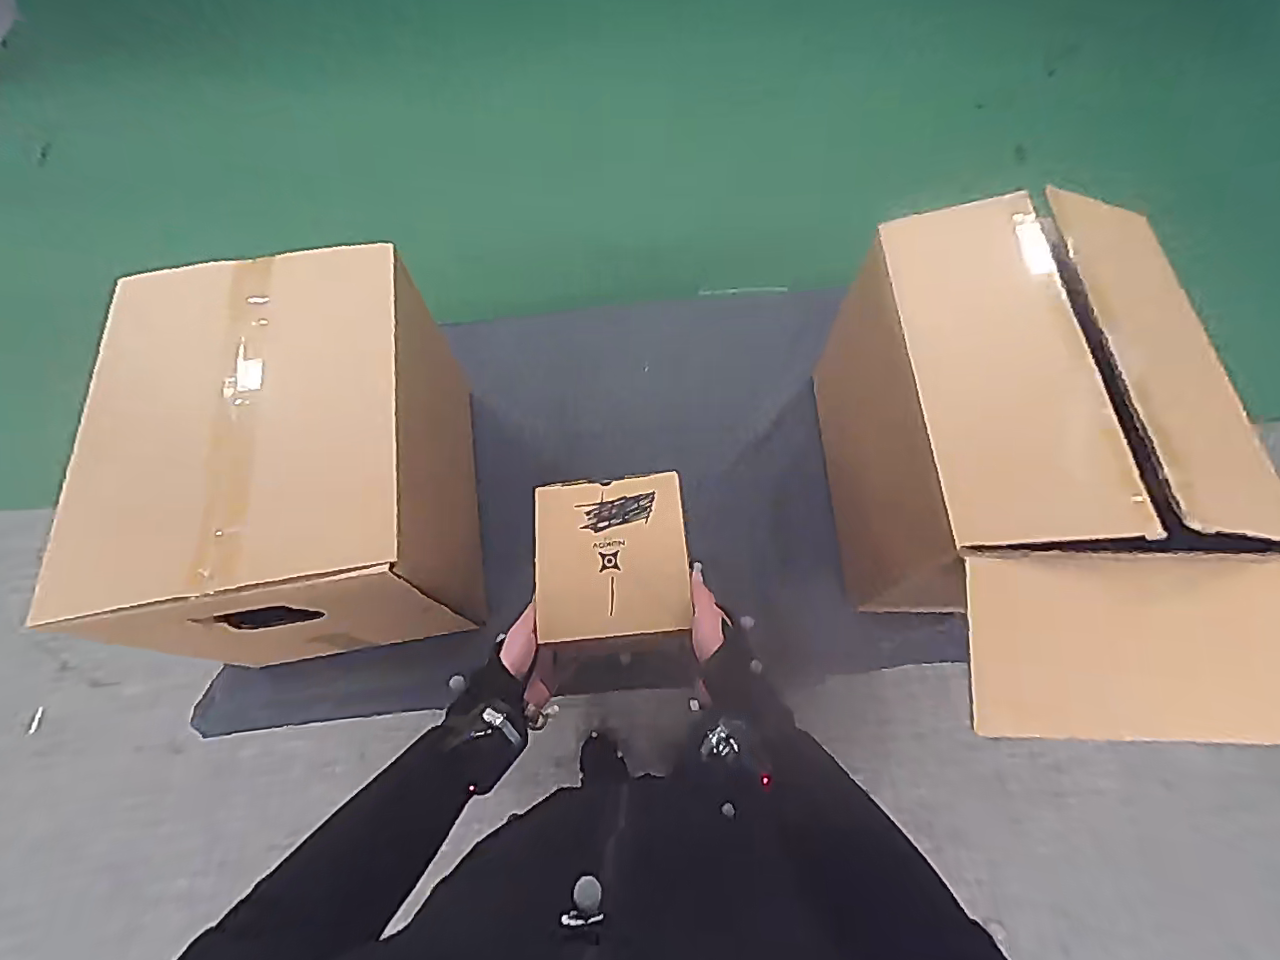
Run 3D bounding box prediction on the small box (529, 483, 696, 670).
[{"bbox_3d":[-0.026,0.120,0.628,0.168,0.176,0.179,-7,69,4],"label":"small box"}]
